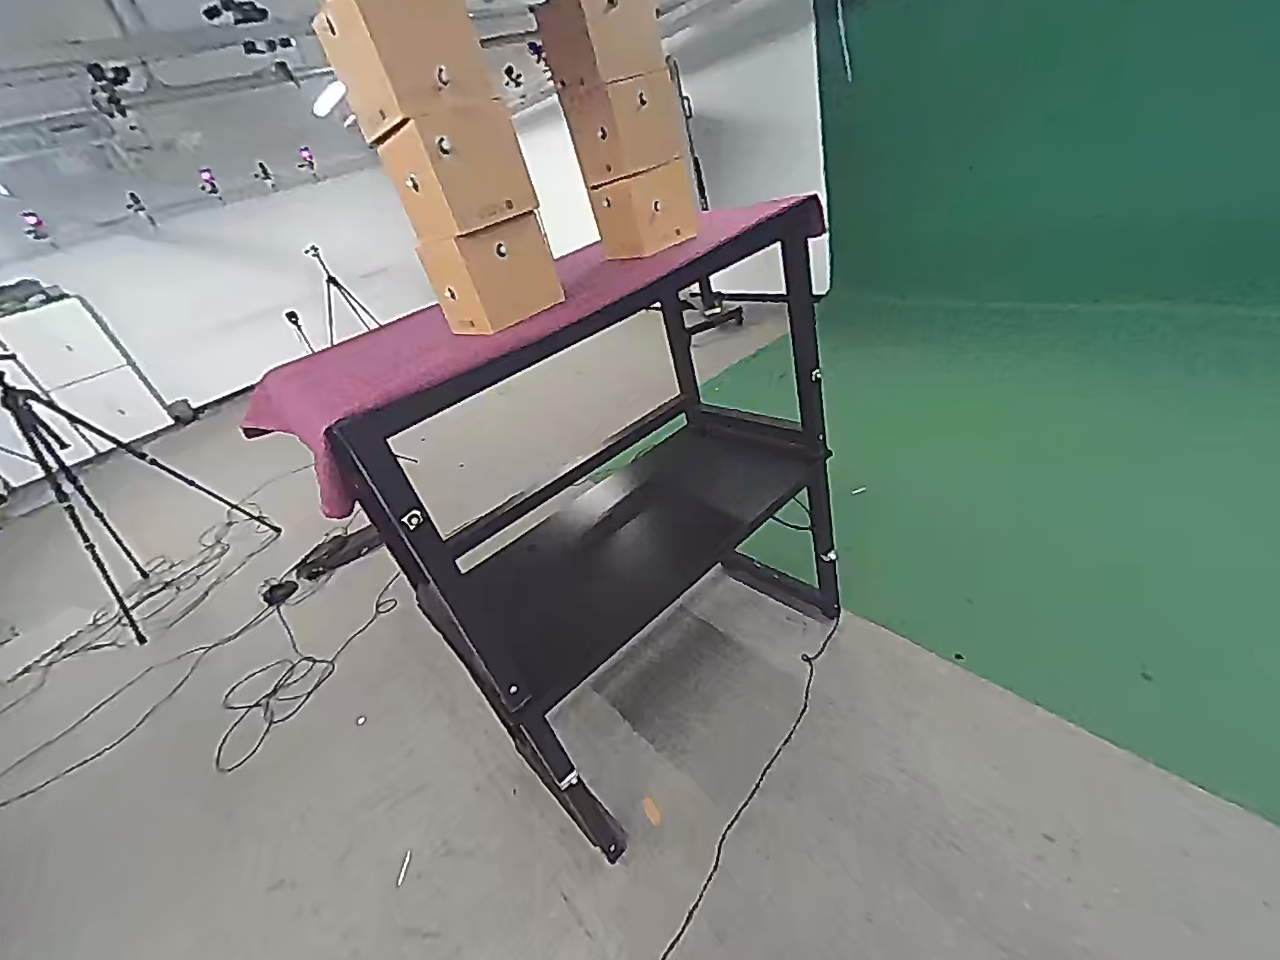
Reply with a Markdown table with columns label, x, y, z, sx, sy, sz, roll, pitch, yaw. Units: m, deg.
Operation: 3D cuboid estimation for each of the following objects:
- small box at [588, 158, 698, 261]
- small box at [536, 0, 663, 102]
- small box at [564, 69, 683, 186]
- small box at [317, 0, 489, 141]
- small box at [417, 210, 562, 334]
| label | x | y | z | sx | sy | sz | roll | pitch | yaw |
| --- | --- | --- | --- | --- | --- | --- | --- | --- | --- |
| small box | 0.011 | -0.623 | 1.262 | 0.168 | 0.176 | 0.179 | -33 | 33 | -24 |
| small box | -0.078 | -0.893 | 1.101 | 0.179 | 0.176 | 0.168 | -33 | 34 | -26 |
| small box | -0.030 | -0.754 | 1.173 | 0.179 | 0.176 | 0.168 | -35 | 34 | -27 |
| small box | -0.362 | -0.656 | 0.854 | 0.179 | 0.176 | 0.168 | -38 | 35 | -31 |
| small box | -0.277 | -0.384 | 1.014 | 0.179 | 0.176 | 0.168 | -37 | 36 | -30 |
